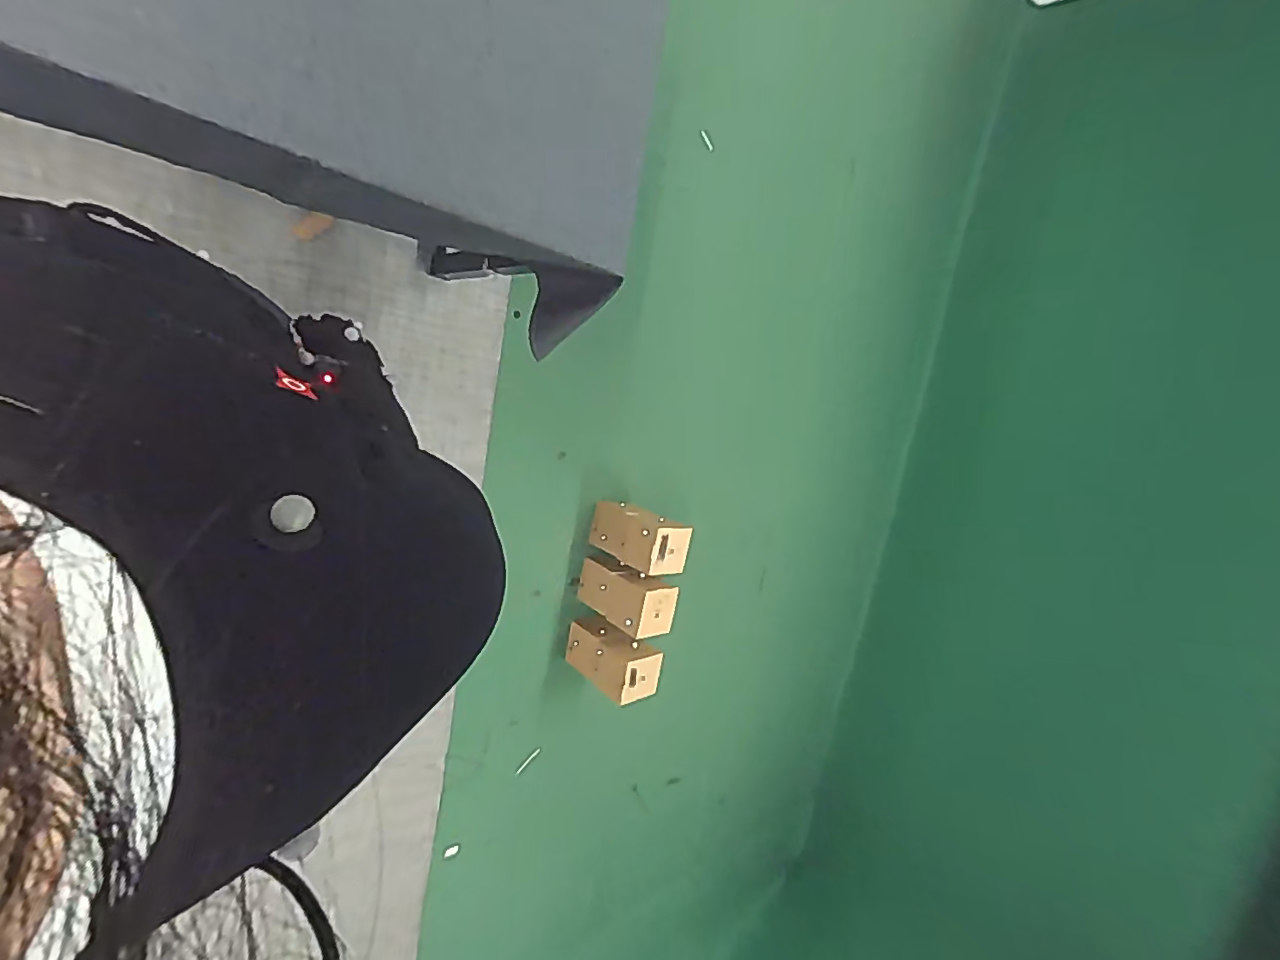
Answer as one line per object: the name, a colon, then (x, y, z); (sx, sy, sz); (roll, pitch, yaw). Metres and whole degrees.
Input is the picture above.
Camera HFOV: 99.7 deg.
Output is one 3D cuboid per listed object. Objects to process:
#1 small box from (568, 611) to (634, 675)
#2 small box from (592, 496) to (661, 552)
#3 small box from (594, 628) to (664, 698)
small box: (-0.150, 0.615, 2.071); (0.179, 0.176, 0.168); (3, 102, -43)
small box: (-0.054, 0.163, 2.008); (0.179, 0.176, 0.168); (8, 98, -44)
small box: (-0.042, 0.654, 1.953); (0.179, 0.176, 0.168); (2, 103, -43)
